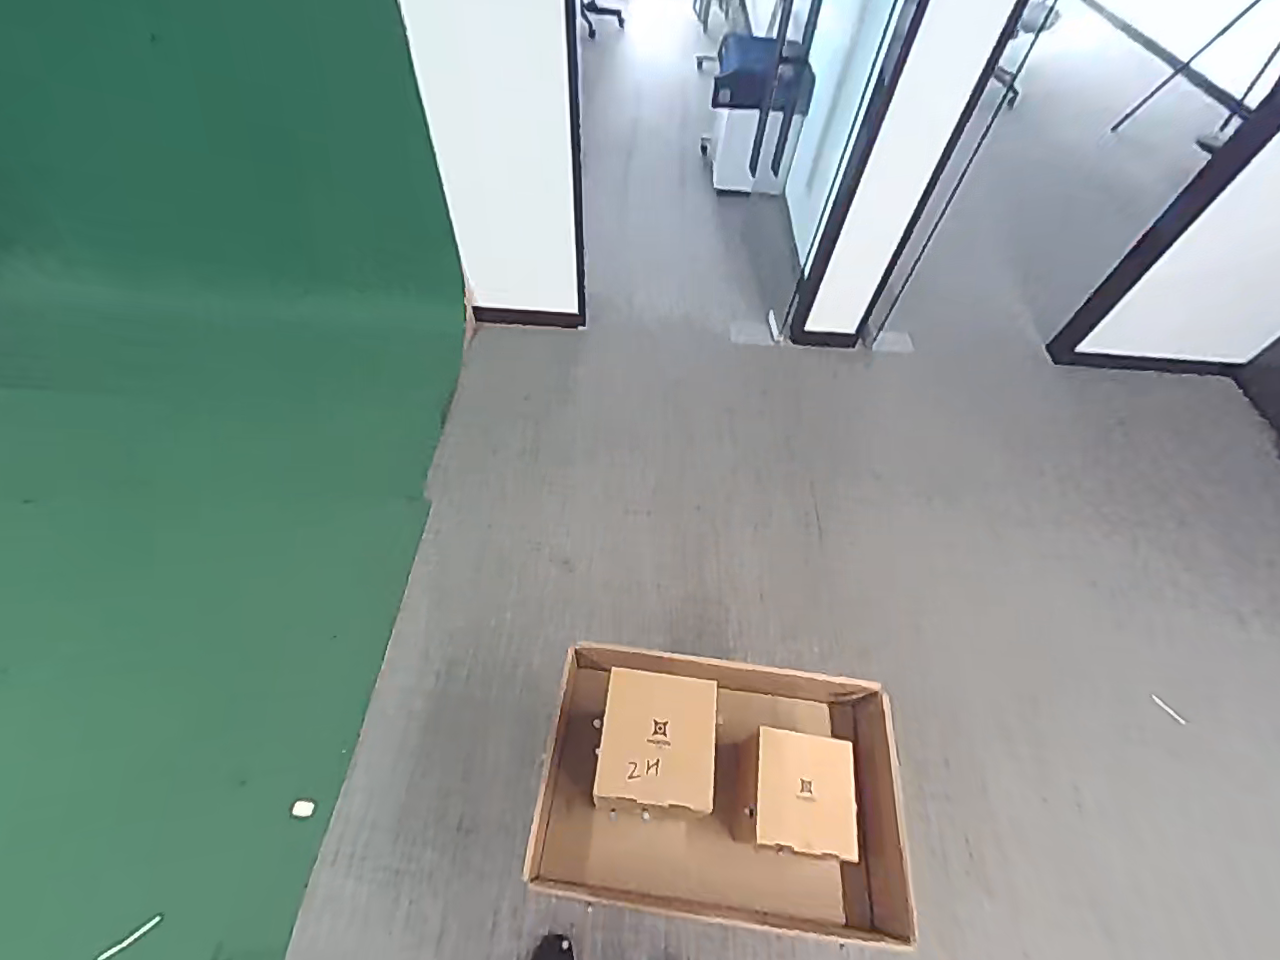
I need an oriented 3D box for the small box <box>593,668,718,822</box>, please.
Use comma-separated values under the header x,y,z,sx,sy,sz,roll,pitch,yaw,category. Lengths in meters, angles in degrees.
x,y,z,sx,sy,sz,roll,pitch,yaw,category
0.022,0.413,0.836,0.168,0.176,0.179,8,55,2,small box
